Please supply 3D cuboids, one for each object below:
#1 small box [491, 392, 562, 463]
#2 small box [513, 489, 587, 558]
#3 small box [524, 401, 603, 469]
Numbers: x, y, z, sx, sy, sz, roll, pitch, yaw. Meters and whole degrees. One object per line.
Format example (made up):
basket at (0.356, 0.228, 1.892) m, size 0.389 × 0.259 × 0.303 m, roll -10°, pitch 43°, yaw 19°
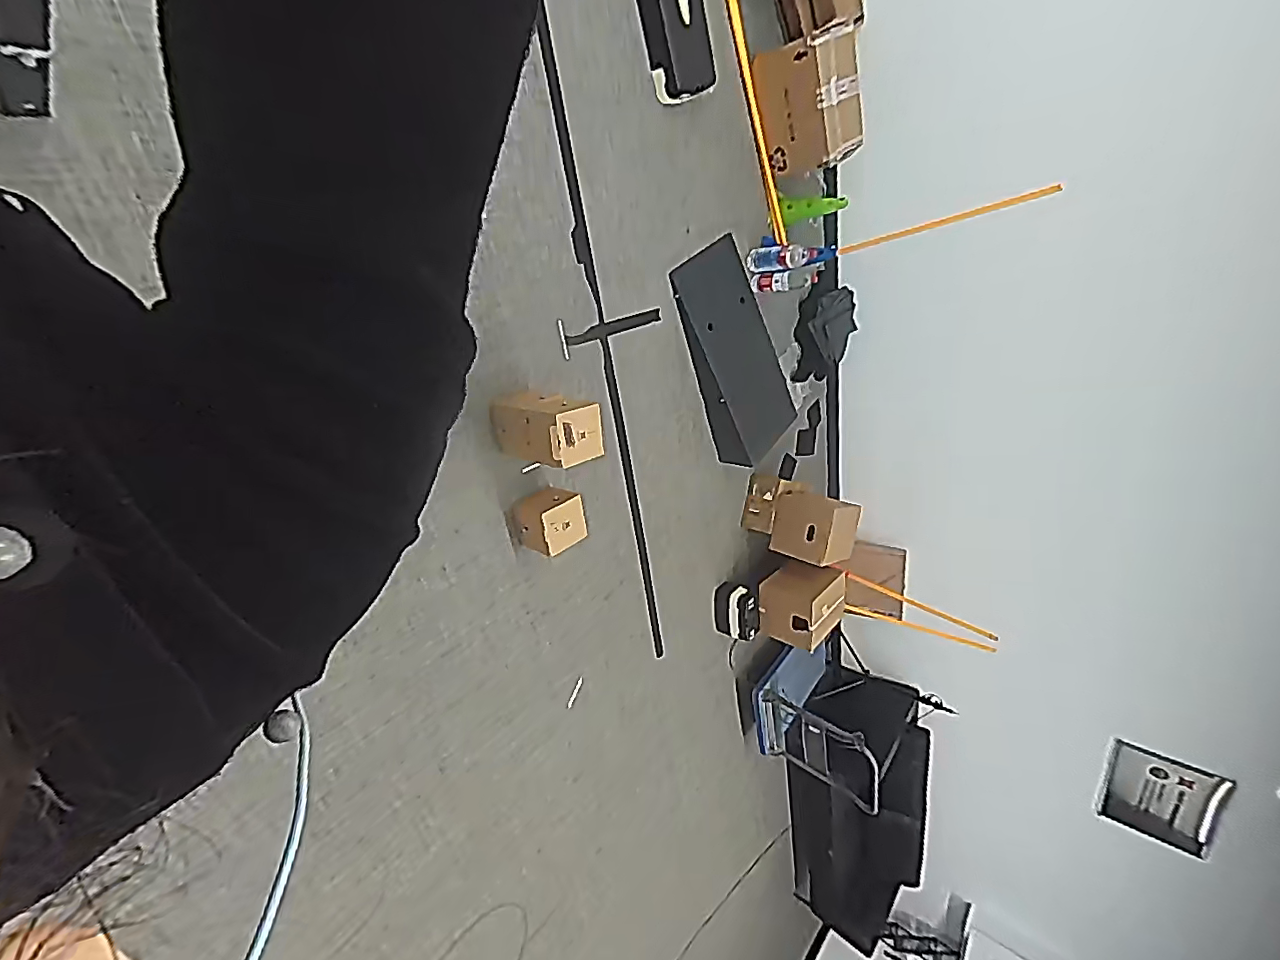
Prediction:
small box at (-0.357, -0.176, 1.755) m, size 0.168 × 0.176 × 0.179 m, roll -29°, pitch 121°, yaw -41°
small box at (-0.314, 0.144, 1.887) m, size 0.179 × 0.176 × 0.168 m, roll -29°, pitch 120°, yaw -41°
small box at (-0.238, -0.142, 1.646) m, size 0.179 × 0.176 × 0.168 m, roll -24°, pitch 117°, yaw -44°
